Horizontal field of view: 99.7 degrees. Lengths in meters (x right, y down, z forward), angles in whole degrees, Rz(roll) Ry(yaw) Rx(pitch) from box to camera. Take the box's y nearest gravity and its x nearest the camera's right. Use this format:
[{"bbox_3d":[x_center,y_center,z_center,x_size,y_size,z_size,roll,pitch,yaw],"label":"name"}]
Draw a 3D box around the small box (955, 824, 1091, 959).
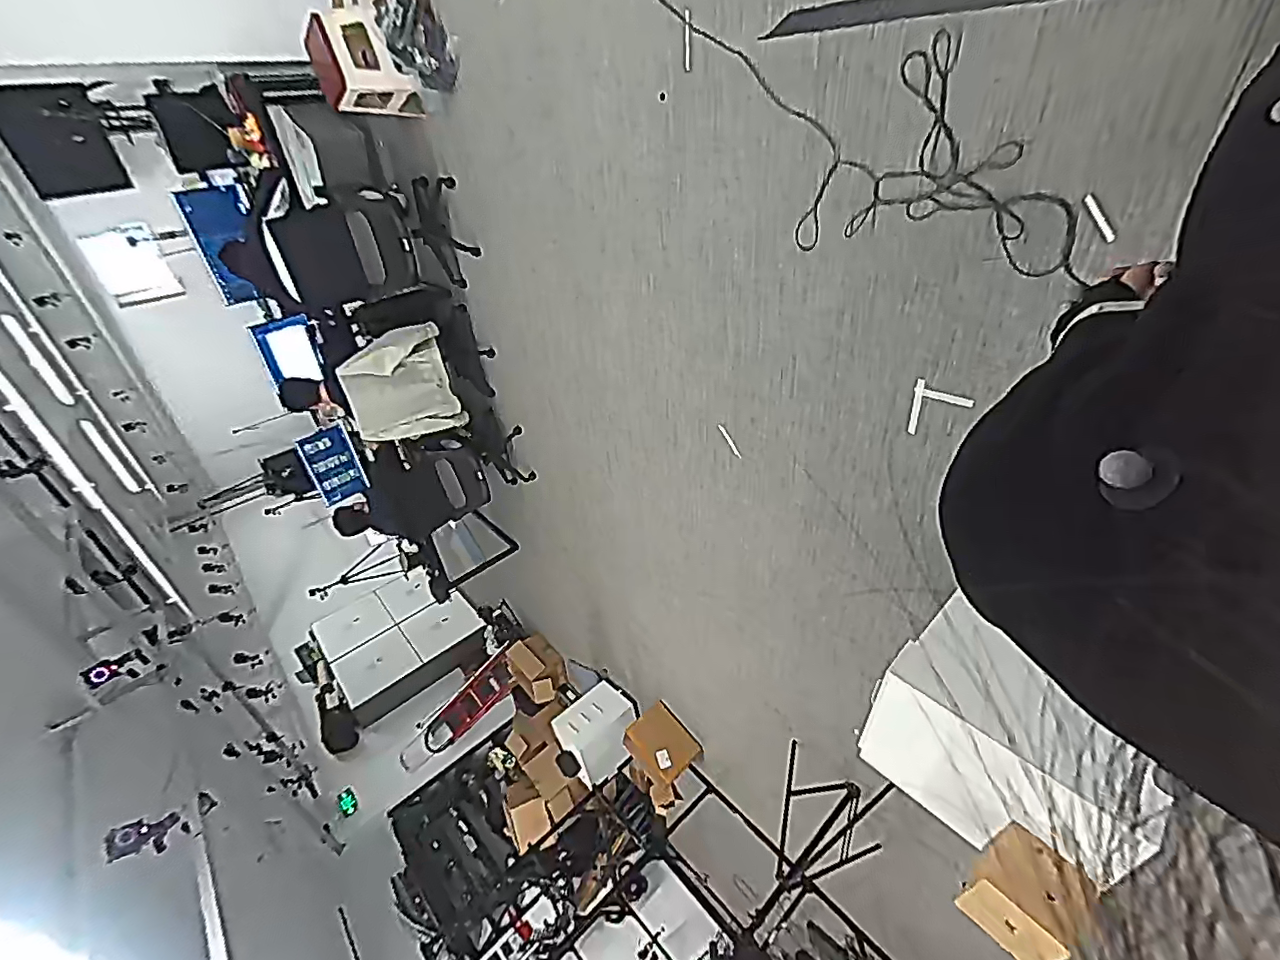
[{"bbox_3d":[0.818,0.885,1.155,0.168,0.176,0.179,35,141,36],"label":"small box"}]
